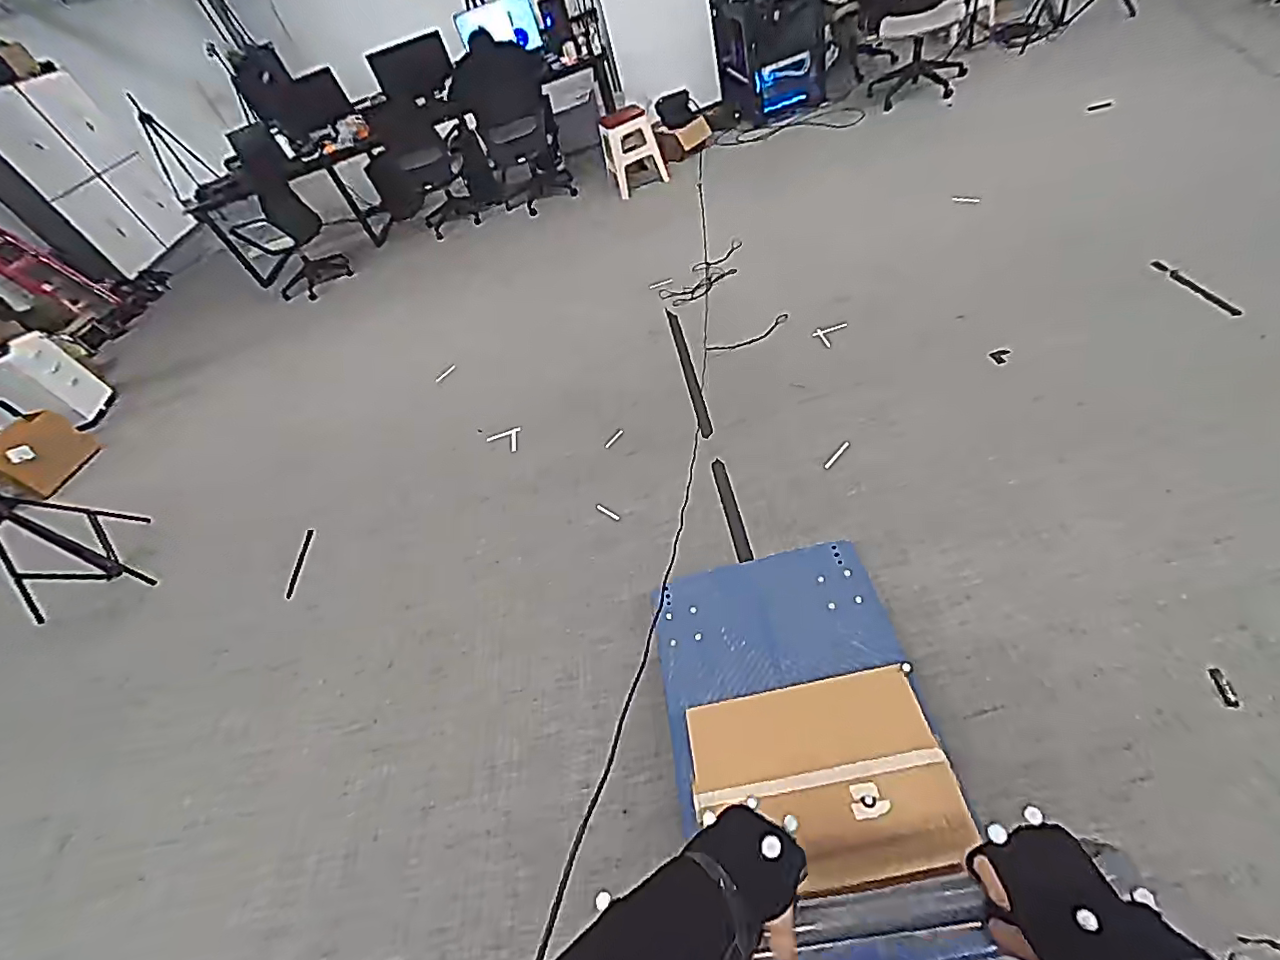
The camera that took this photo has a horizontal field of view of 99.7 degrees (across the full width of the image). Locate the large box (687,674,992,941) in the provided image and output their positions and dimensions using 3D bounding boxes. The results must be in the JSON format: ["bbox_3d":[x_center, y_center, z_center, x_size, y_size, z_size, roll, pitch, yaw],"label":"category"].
[{"bbox_3d":[0.330,0.605,0.989,0.408,0.320,0.320,-15,46,7],"label":"large box"}]
